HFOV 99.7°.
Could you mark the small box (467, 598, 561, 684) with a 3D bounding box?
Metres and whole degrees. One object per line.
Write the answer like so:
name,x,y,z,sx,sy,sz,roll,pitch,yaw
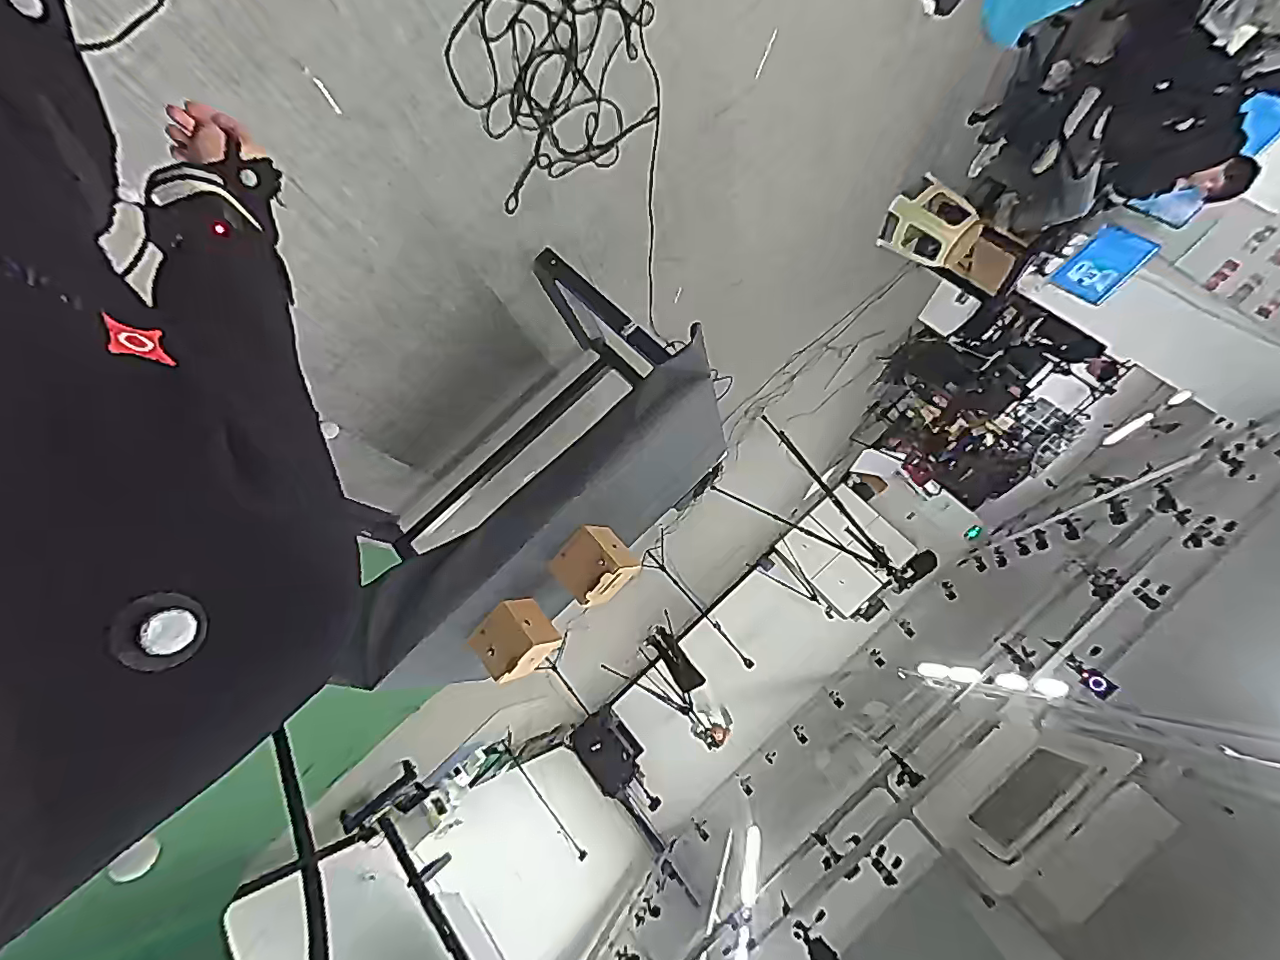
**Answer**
small box,-0.377,0.471,1.610,0.168,0.176,0.179,-46,160,8
